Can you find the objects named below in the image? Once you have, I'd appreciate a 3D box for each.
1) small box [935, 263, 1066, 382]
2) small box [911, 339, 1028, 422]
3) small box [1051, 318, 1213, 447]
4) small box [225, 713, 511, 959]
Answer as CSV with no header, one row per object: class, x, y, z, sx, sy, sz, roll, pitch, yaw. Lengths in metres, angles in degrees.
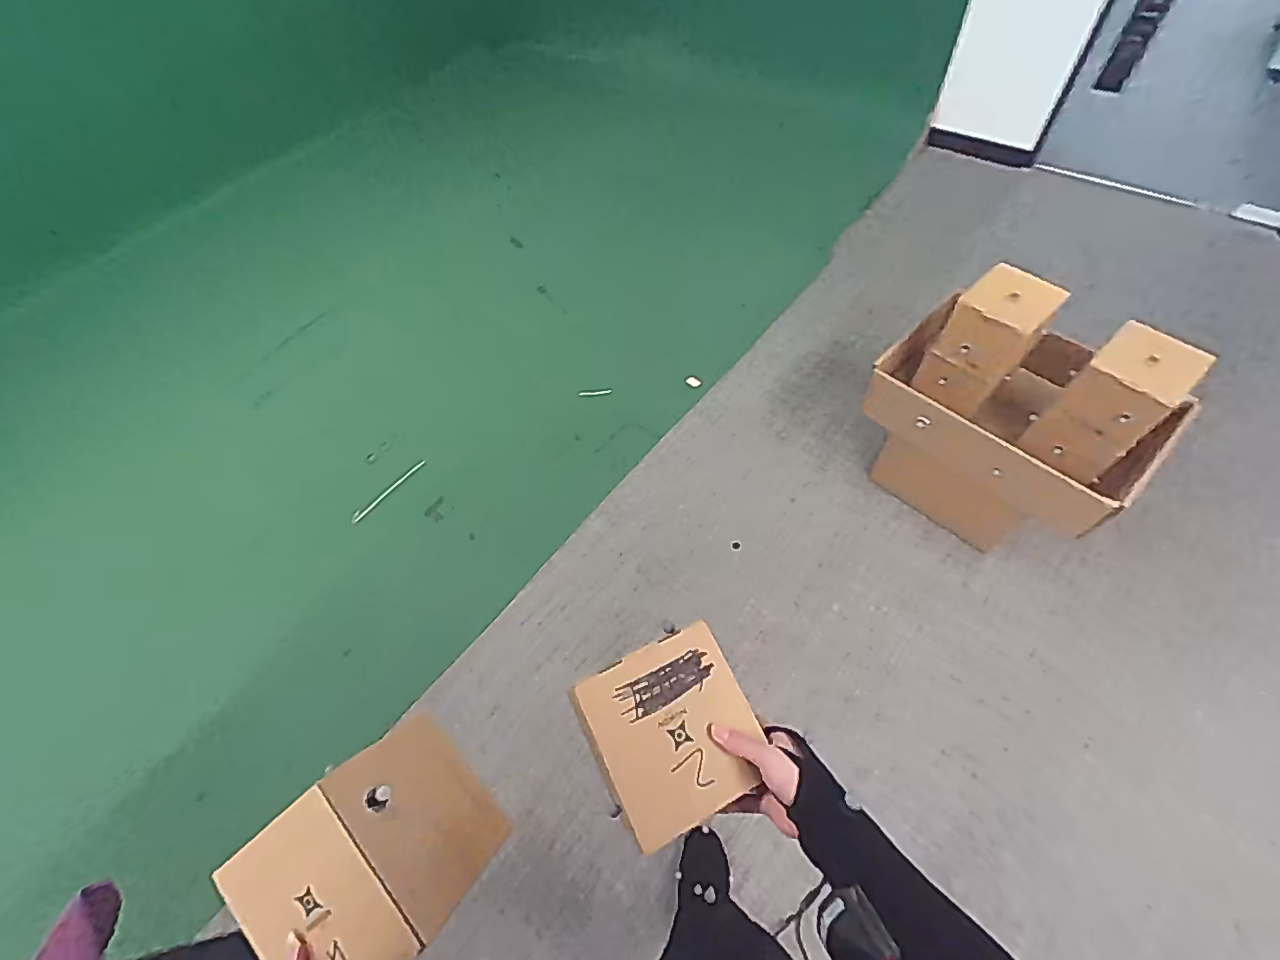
small box,0.840,-0.370,1.281,0.179,0.176,0.168,-40,63,-16
small box,0.853,-0.287,1.421,0.168,0.176,0.179,-38,62,-15
small box,1.029,-0.202,1.151,0.179,0.176,0.168,-39,63,-17
small box,-0.277,0.381,0.580,0.168,0.176,0.179,-41,81,11
